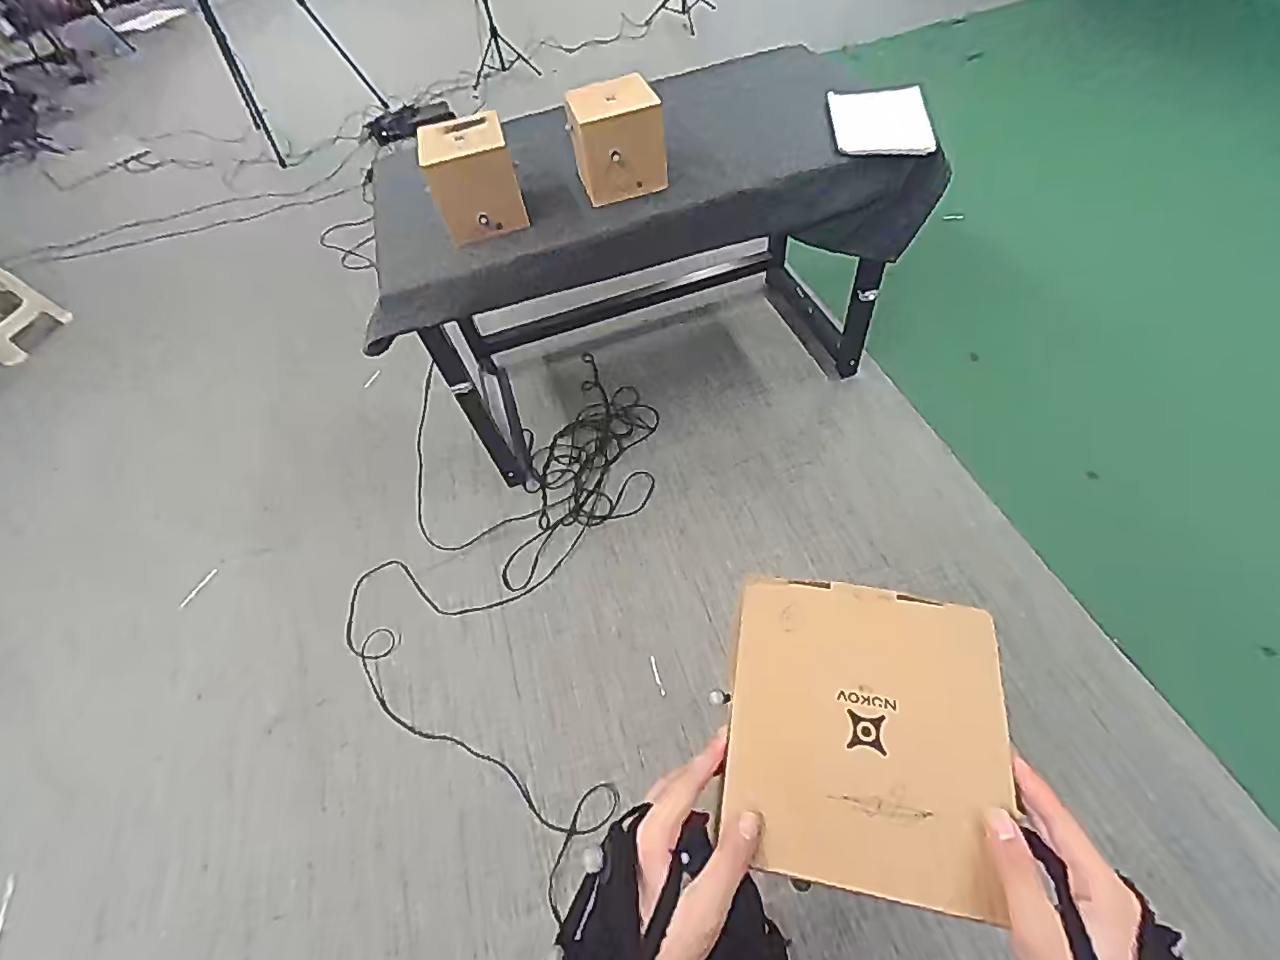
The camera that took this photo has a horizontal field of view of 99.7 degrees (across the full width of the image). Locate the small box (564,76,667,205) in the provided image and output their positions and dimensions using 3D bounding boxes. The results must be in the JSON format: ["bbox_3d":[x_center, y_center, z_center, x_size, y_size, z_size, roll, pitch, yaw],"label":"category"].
[{"bbox_3d":[-0.047,-0.703,1.135,0.168,0.176,0.179,-17,54,-3],"label":"small box"}]

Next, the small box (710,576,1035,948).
[{"bbox_3d":[0.144,0.192,0.396,0.168,0.176,0.179,8,62,10],"label":"small box"}]
